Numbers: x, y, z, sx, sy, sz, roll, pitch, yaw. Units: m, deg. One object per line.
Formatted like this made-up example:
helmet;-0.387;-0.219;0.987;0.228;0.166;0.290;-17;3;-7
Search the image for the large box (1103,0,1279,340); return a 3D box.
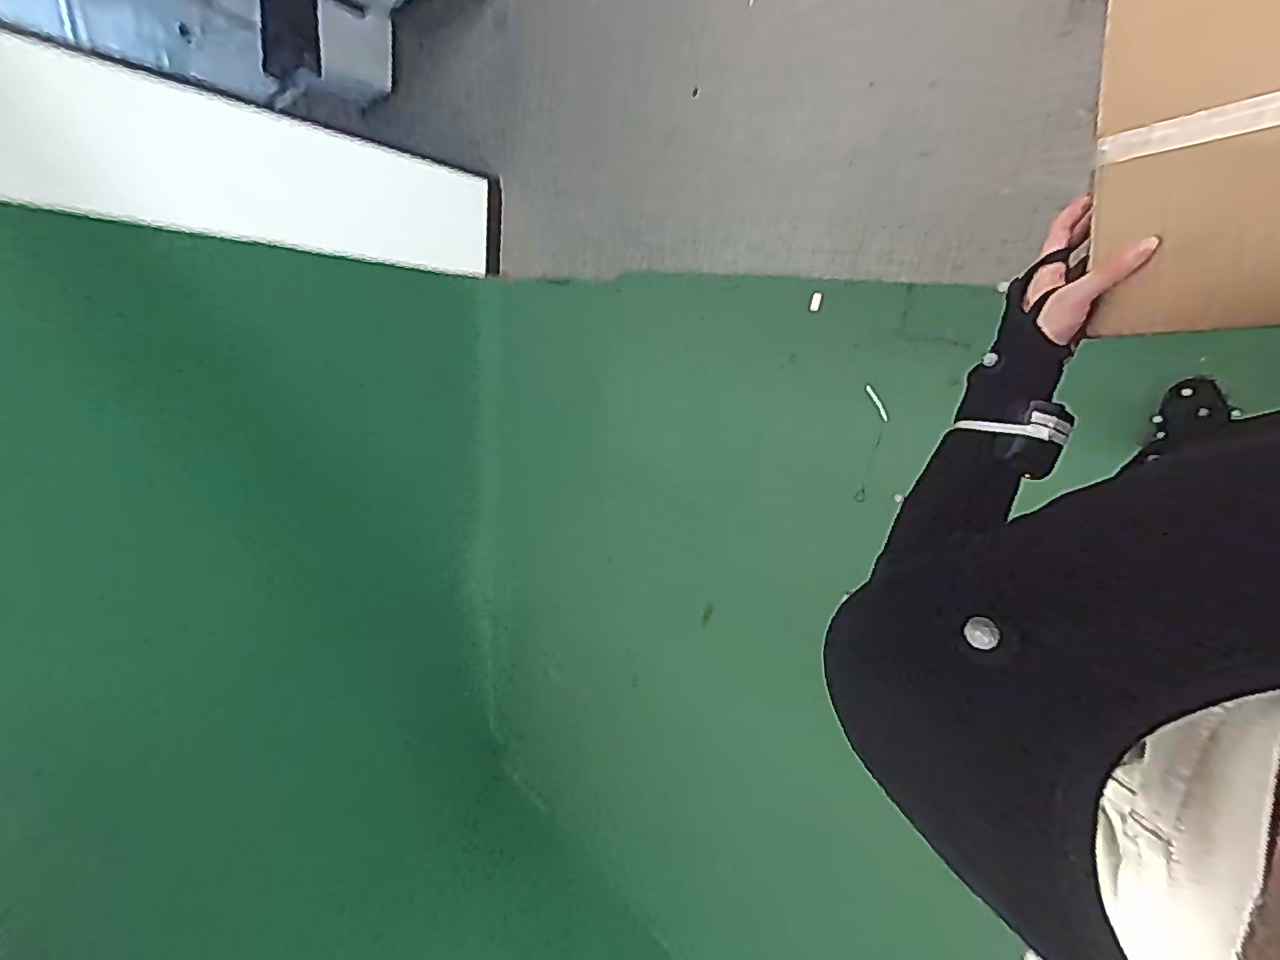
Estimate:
large box;0.641;-0.306;0.414;0.408;0.320;0.320;8;117;45
